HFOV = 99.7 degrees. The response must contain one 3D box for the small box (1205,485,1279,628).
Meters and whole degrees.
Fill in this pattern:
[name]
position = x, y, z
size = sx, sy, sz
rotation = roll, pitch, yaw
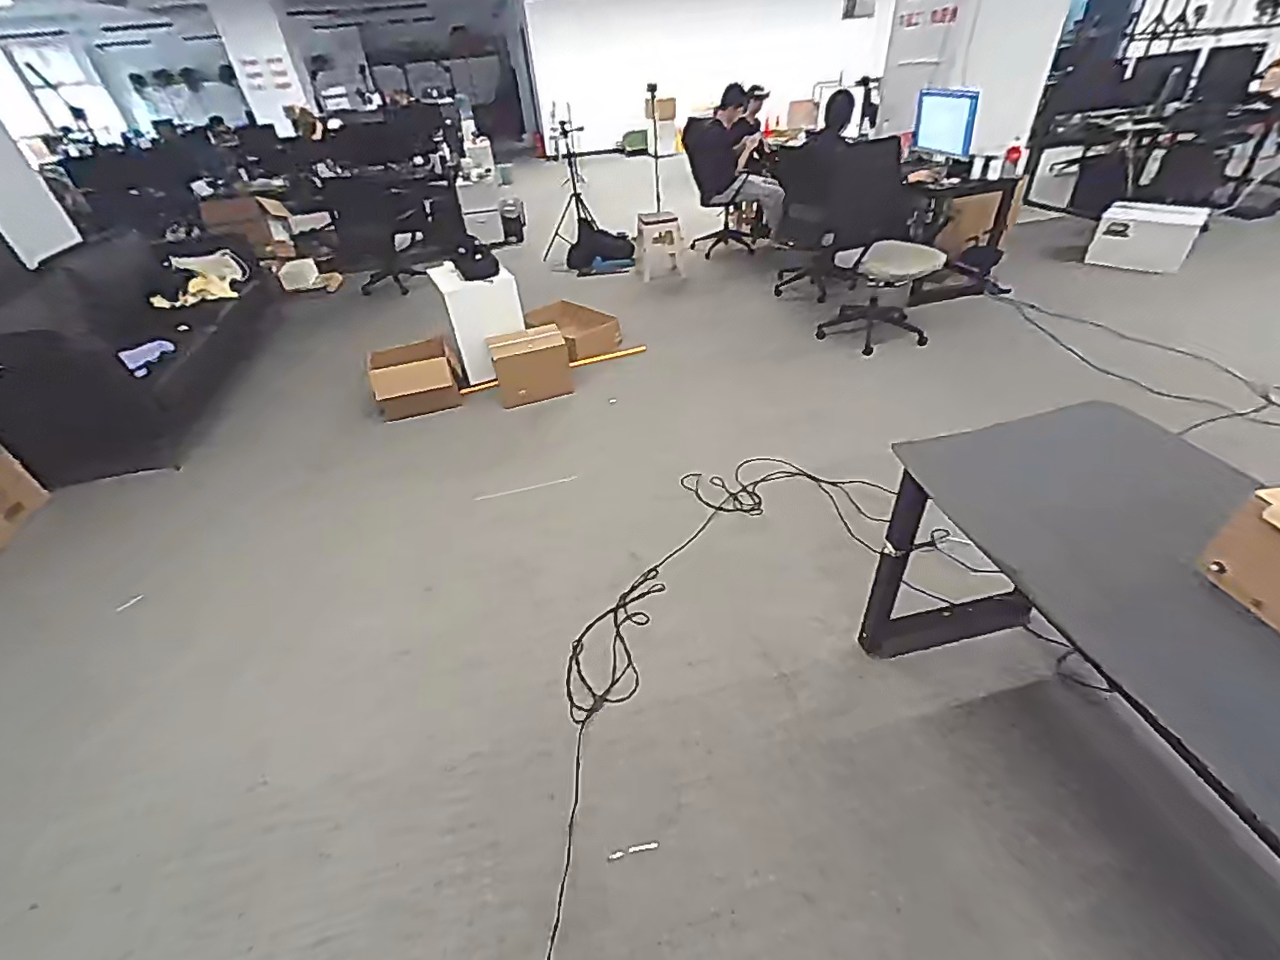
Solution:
[small box]
position = 1.053, 0.119, 0.839
size = 0.179, 0.176, 0.168
rotation = -8, 38, -4
